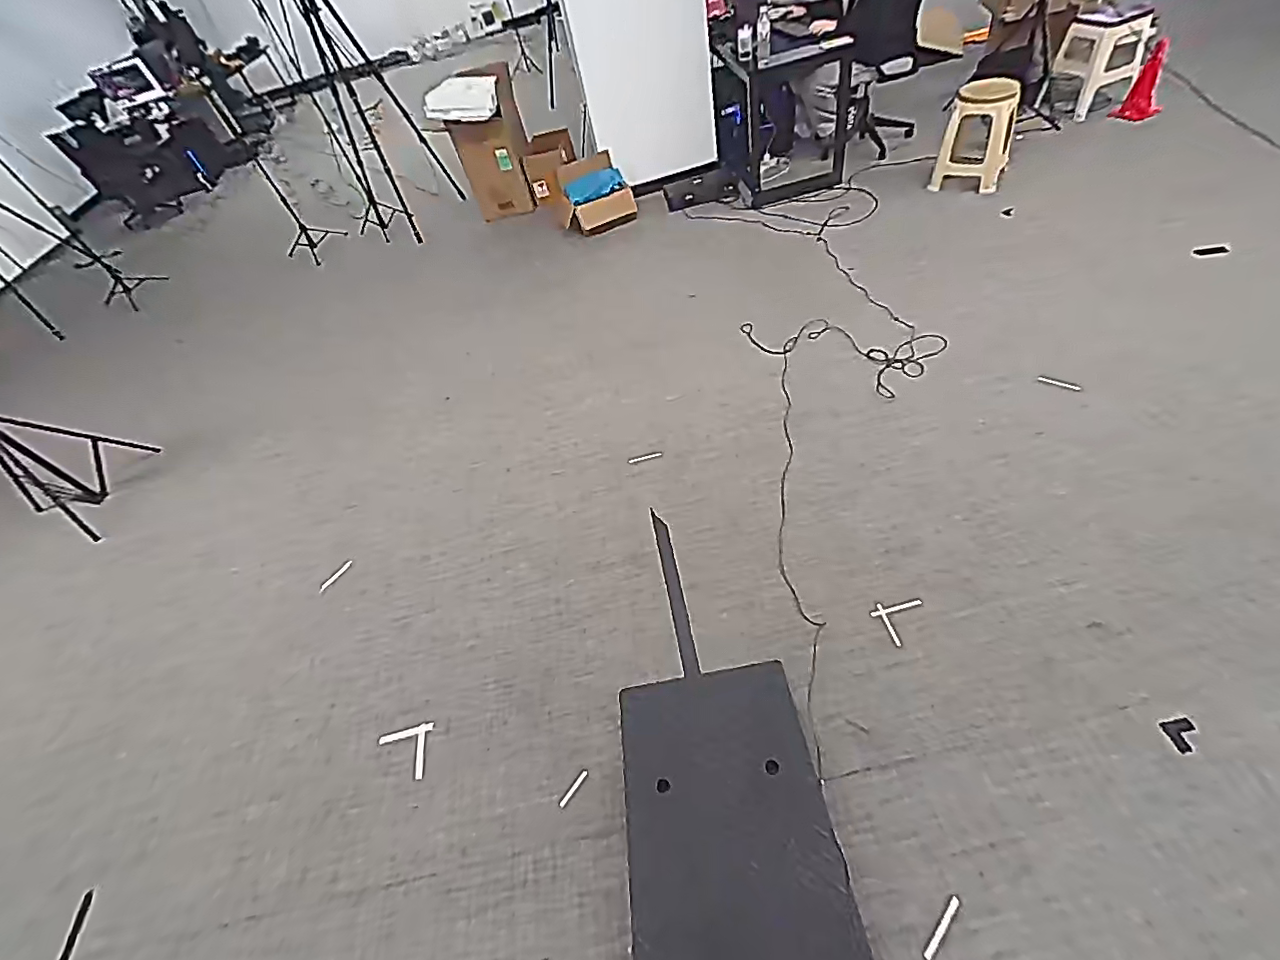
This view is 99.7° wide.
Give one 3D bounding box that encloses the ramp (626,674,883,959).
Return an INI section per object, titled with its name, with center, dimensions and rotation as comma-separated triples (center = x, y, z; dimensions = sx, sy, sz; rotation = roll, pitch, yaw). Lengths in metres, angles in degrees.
[ramp]
center = 0.236, 0.926, 1.215
dimensions = 0.509, 0.206, 0.991
rotation = -16, 46, 3
